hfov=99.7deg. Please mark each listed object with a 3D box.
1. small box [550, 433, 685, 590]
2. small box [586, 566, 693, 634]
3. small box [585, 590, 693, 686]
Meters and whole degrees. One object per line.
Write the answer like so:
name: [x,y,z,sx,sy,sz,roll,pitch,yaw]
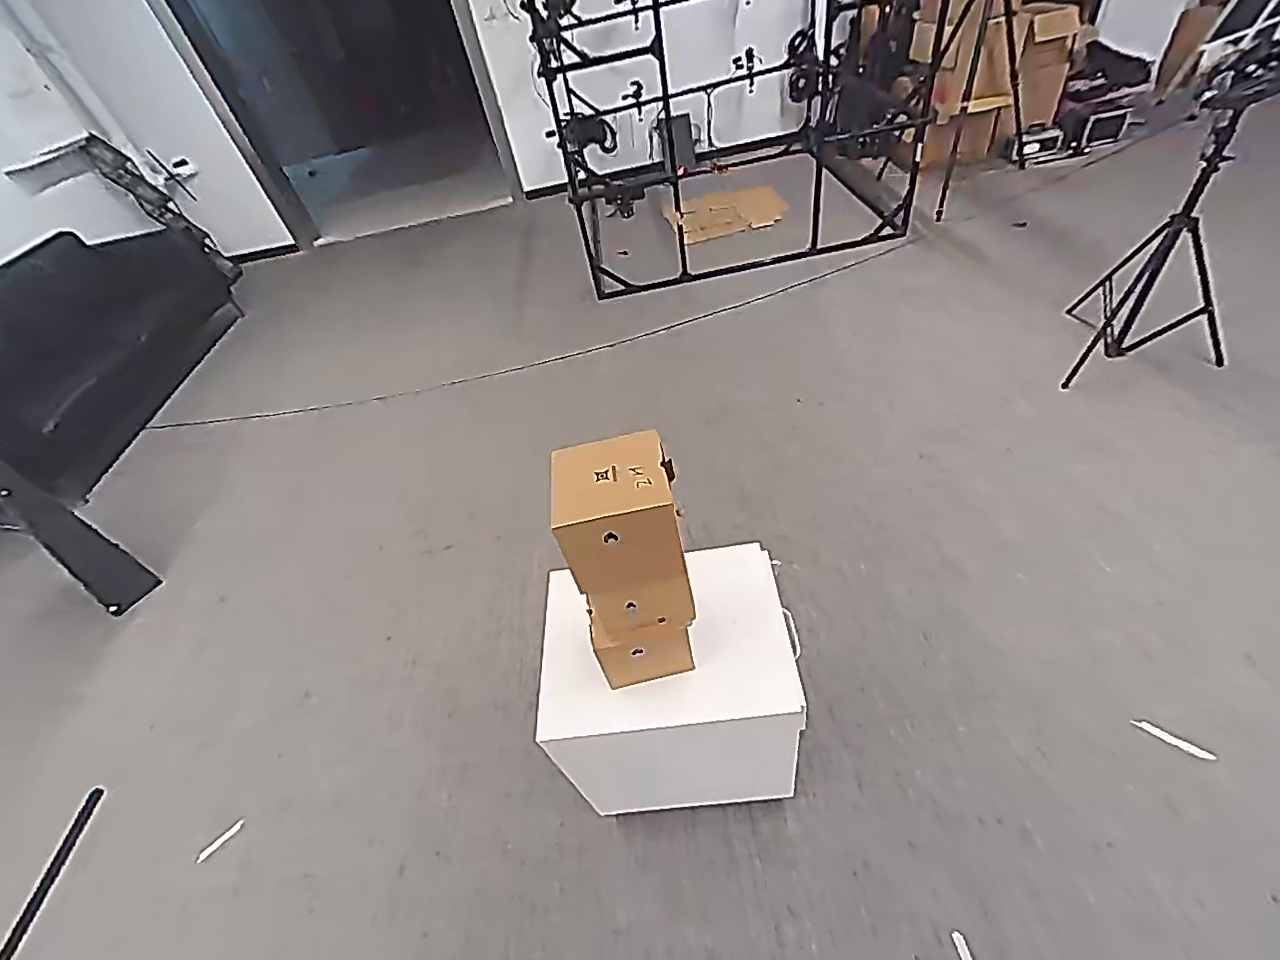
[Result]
small box: [-0.033,0.054,0.854,0.179,0.176,0.168,-11,44,2]
small box: [-0.005,0.160,0.979,0.168,0.176,0.179,-13,43,0]
small box: [-0.002,0.289,1.081,0.179,0.176,0.168,-13,44,-1]
